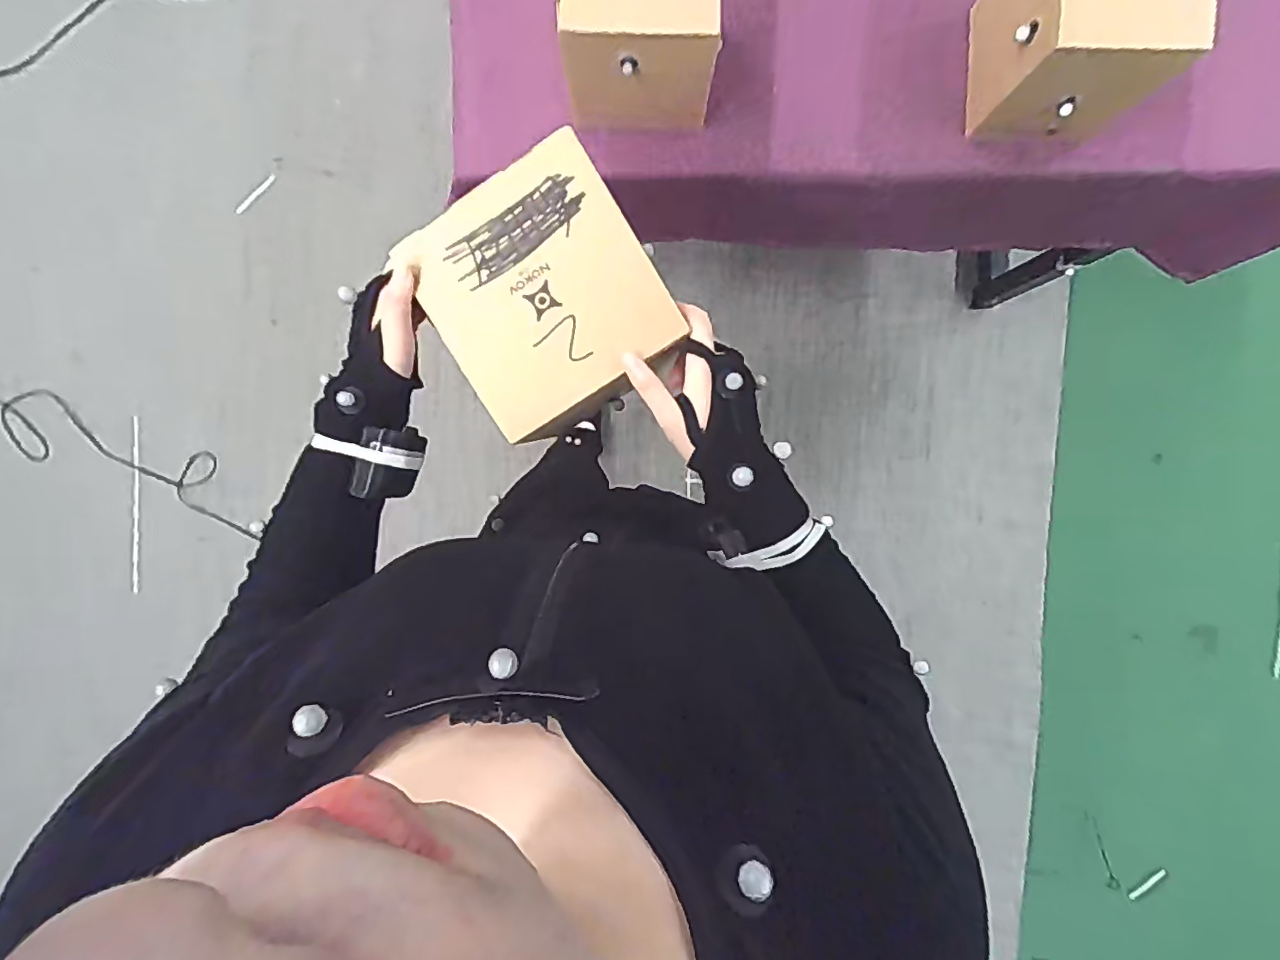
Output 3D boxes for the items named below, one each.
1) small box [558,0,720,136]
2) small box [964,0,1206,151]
[{"bbox_3d":[0.001,-0.552,0.660,0.179,0.176,0.168,1,91,-1],"label":"small box"},{"bbox_3d":[0.524,-0.534,0.658,0.168,0.176,0.179,2,91,0],"label":"small box"}]
